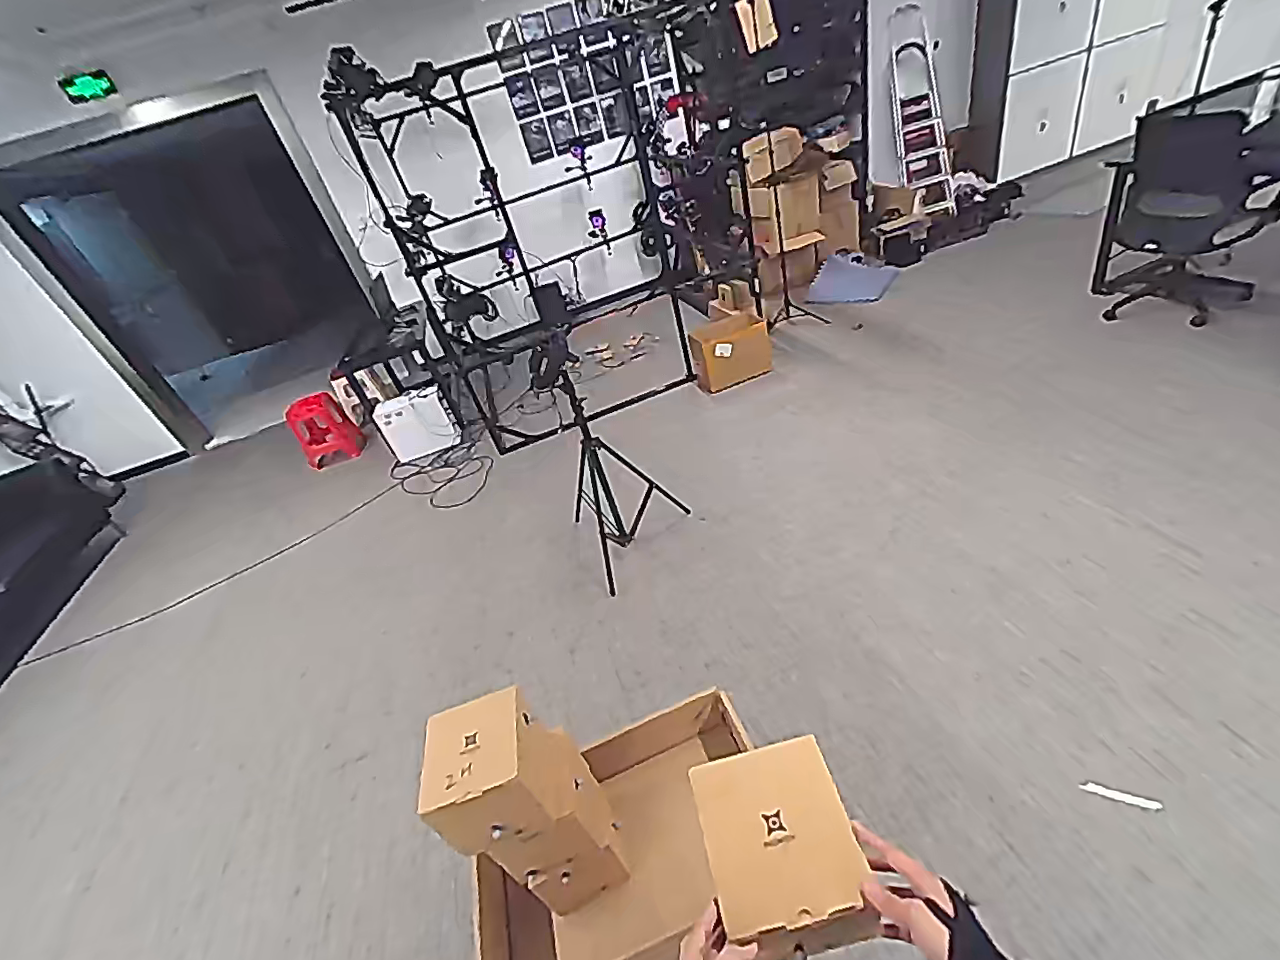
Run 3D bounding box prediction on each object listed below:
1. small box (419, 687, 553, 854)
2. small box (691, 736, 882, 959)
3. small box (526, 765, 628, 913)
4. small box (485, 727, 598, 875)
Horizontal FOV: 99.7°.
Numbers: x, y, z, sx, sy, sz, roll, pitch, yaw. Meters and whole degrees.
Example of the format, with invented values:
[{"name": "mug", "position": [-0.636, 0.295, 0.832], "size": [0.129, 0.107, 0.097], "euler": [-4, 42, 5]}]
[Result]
[{"name": "small box", "position": [-0.261, 0.506, 0.945], "size": [0.168, 0.176, 0.179], "euler": [-20, 35, -2]}, {"name": "small box", "position": [0.171, 0.454, 0.664], "size": [0.168, 0.176, 0.179], "euler": [-16, 40, 0]}, {"name": "small box", "position": [-0.143, 0.751, 1.134], "size": [0.168, 0.176, 0.179], "euler": [-24, 34, -8]}, {"name": "small box", "position": [-0.191, 0.623, 1.041], "size": [0.168, 0.176, 0.179], "euler": [-20, 34, -3]}]
